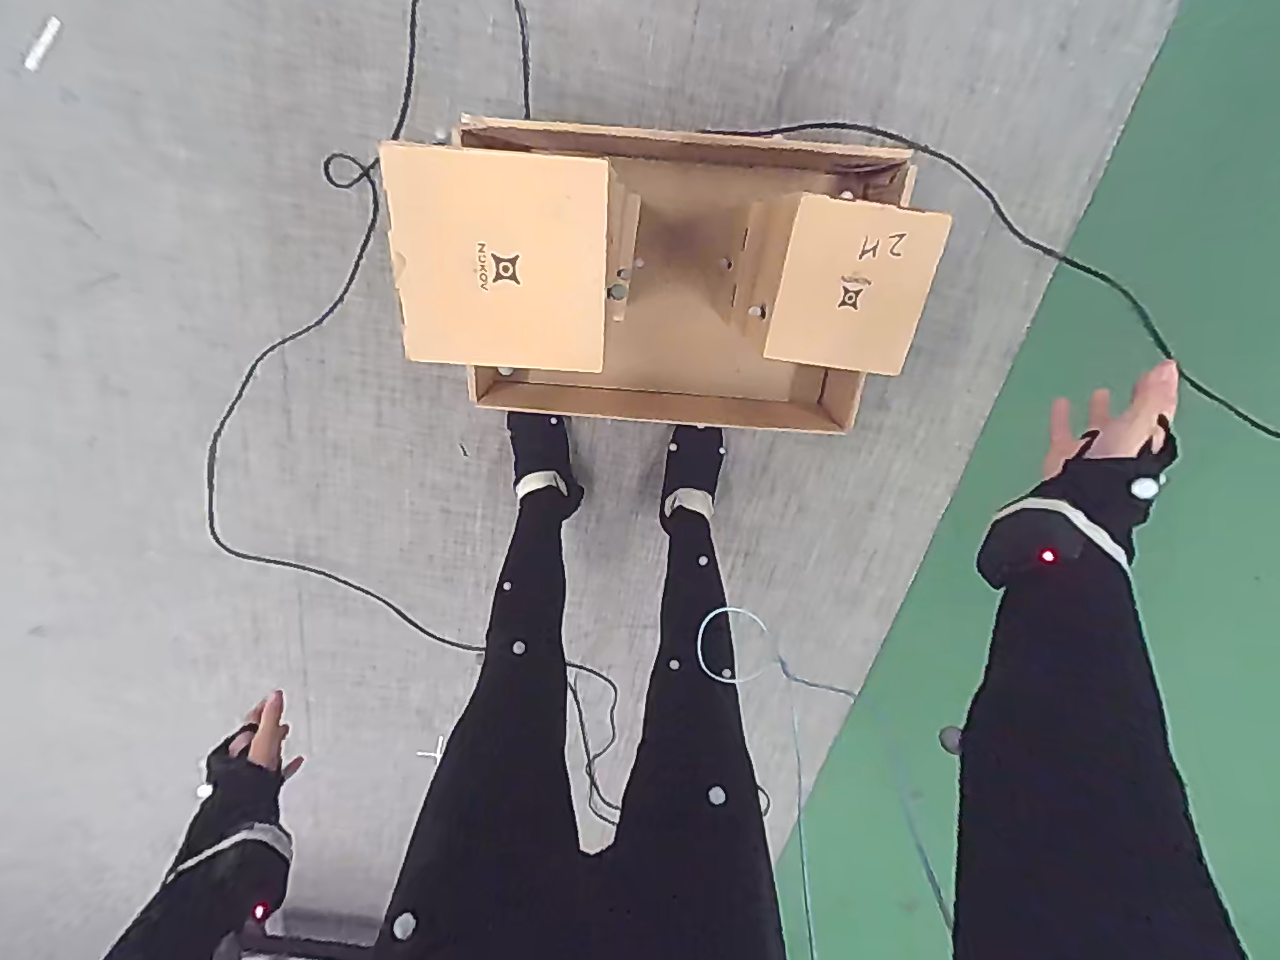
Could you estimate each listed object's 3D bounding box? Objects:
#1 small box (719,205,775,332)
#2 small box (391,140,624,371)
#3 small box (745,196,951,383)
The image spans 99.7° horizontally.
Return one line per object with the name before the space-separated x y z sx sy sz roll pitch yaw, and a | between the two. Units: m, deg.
small box | 0.225 -0.307 0.821 0.179 0.176 0.168 9 114 -2
small box | -0.107 -0.211 0.513 0.179 0.176 0.168 4 116 -1
small box | 0.237 -0.237 0.672 0.168 0.176 0.179 8 113 -4
